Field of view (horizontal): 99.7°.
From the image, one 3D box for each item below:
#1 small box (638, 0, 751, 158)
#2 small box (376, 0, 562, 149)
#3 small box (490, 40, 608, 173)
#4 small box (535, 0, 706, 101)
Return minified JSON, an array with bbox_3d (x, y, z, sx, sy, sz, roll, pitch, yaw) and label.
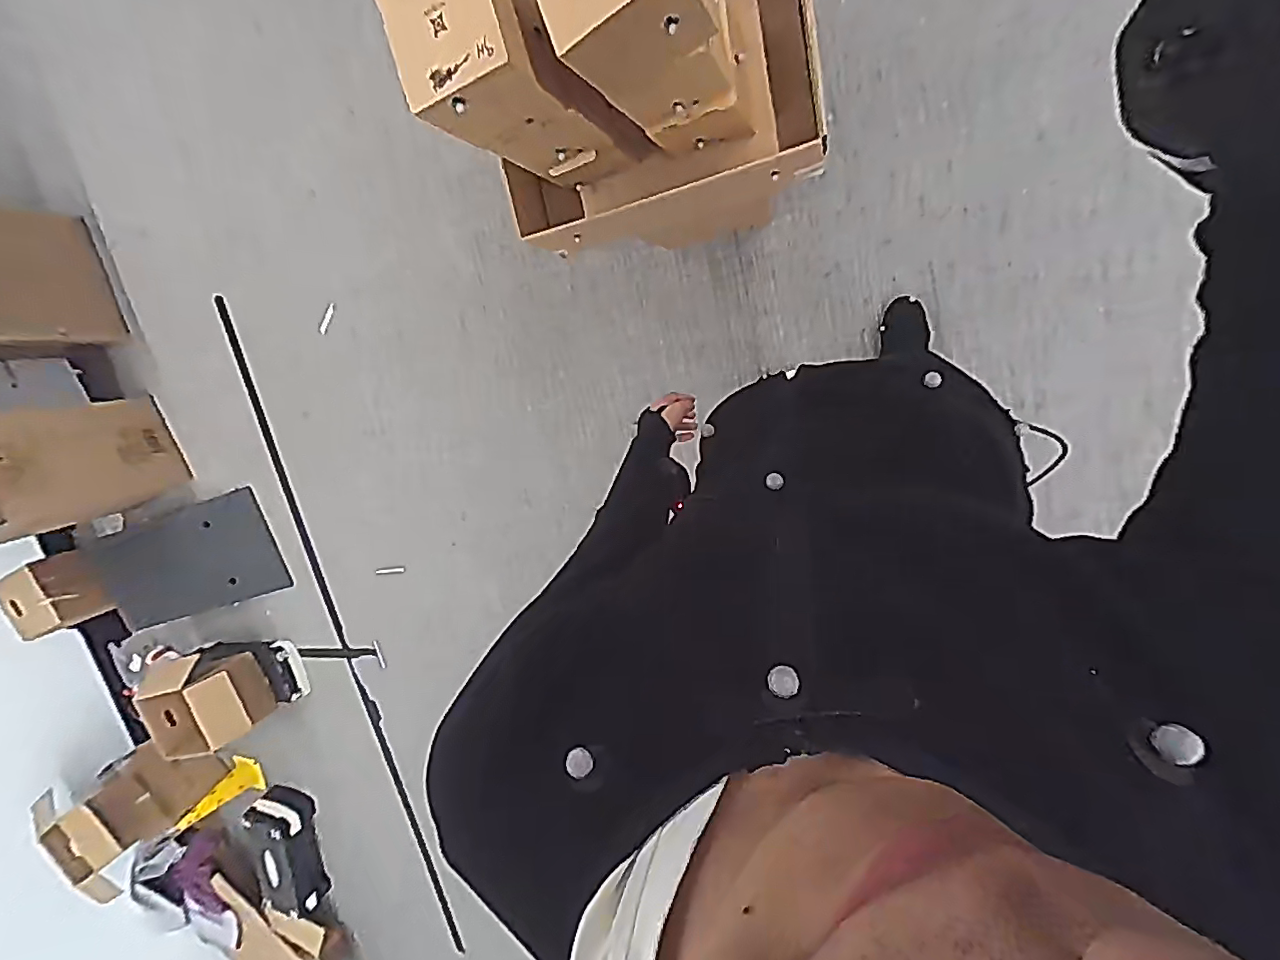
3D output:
[{"bbox_3d":[0.098,-0.718,0.978,0.168,0.176,0.179,-4,104,24],"label":"small box"},{"bbox_3d":[-0.234,-0.612,0.766,0.168,0.176,0.179,-10,101,23],"label":"small box"},{"bbox_3d":[-0.173,-0.656,0.914,0.168,0.176,0.179,-10,102,22],"label":"small box"},{"bbox_3d":[-0.027,-0.634,0.686,0.179,0.176,0.168,-18,97,26],"label":"small box"}]
